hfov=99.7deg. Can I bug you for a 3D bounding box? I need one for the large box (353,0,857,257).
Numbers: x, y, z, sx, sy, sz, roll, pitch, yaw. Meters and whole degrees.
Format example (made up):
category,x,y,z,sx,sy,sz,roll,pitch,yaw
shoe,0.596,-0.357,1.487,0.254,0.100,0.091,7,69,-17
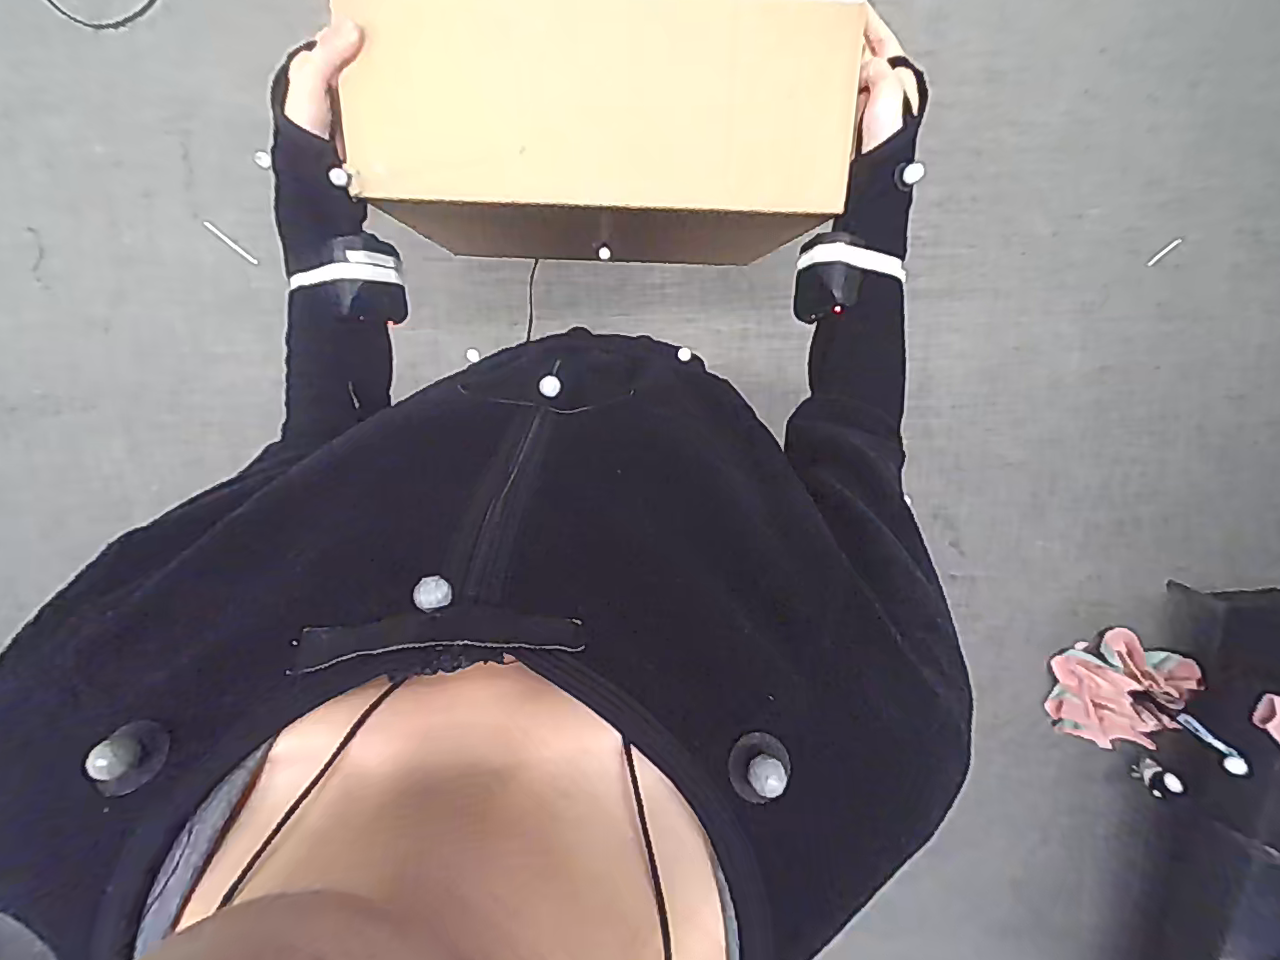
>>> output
category,x,y,z,sx,sy,sz,roll,pitch,yaw
large box,-0.029,-0.418,0.566,0.408,0.320,0.320,0,103,-3
